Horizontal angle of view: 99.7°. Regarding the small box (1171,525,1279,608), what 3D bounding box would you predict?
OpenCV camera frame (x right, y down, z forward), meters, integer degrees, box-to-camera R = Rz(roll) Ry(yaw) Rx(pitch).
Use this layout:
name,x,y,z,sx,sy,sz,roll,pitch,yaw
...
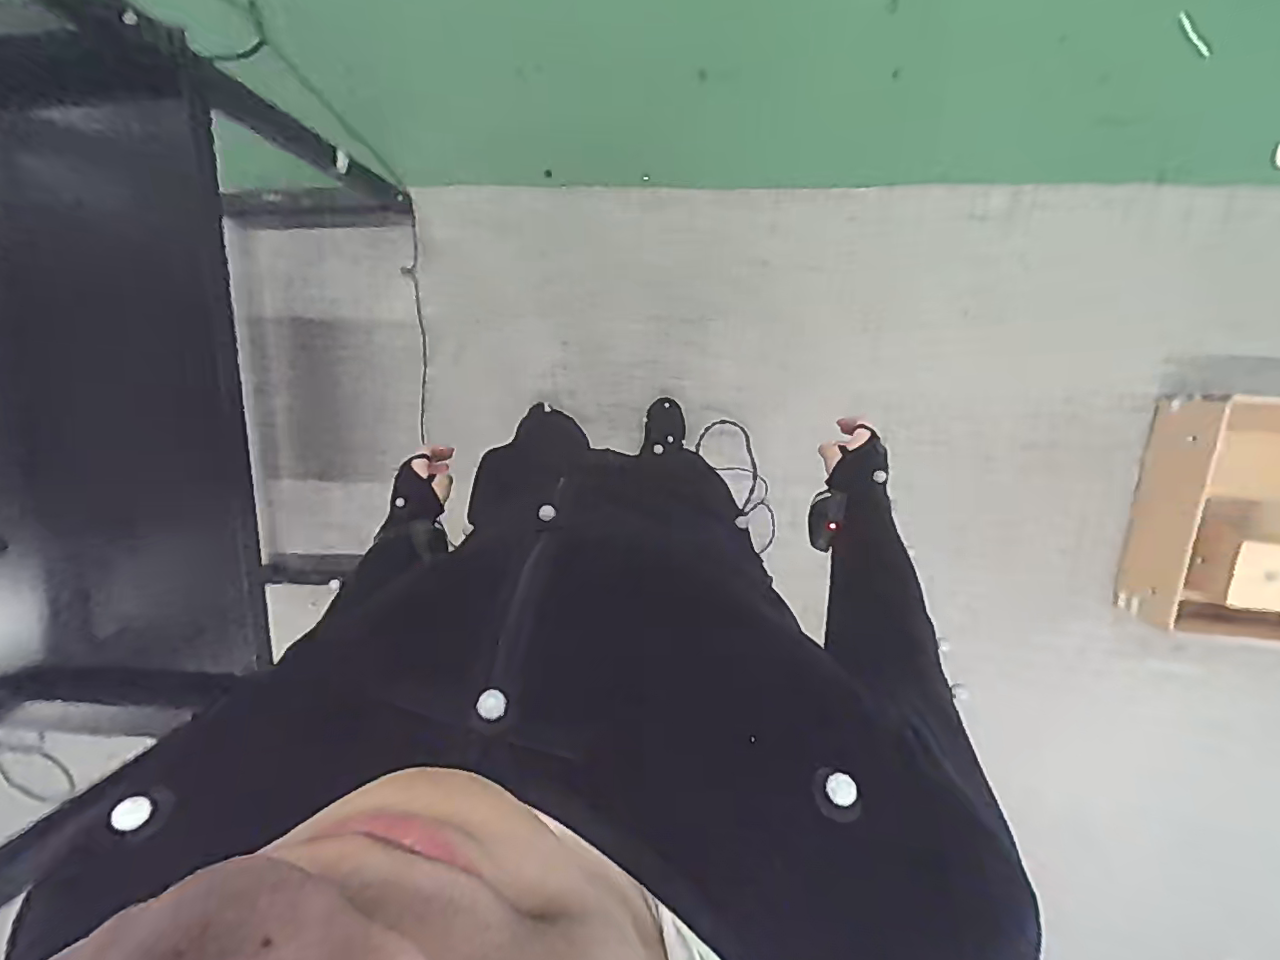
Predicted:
name,x,y,z,sx,sy,sz,roll,pitch,yaw
small box,1.538,0.216,1.391,0.179,0.176,0.168,5,100,4
